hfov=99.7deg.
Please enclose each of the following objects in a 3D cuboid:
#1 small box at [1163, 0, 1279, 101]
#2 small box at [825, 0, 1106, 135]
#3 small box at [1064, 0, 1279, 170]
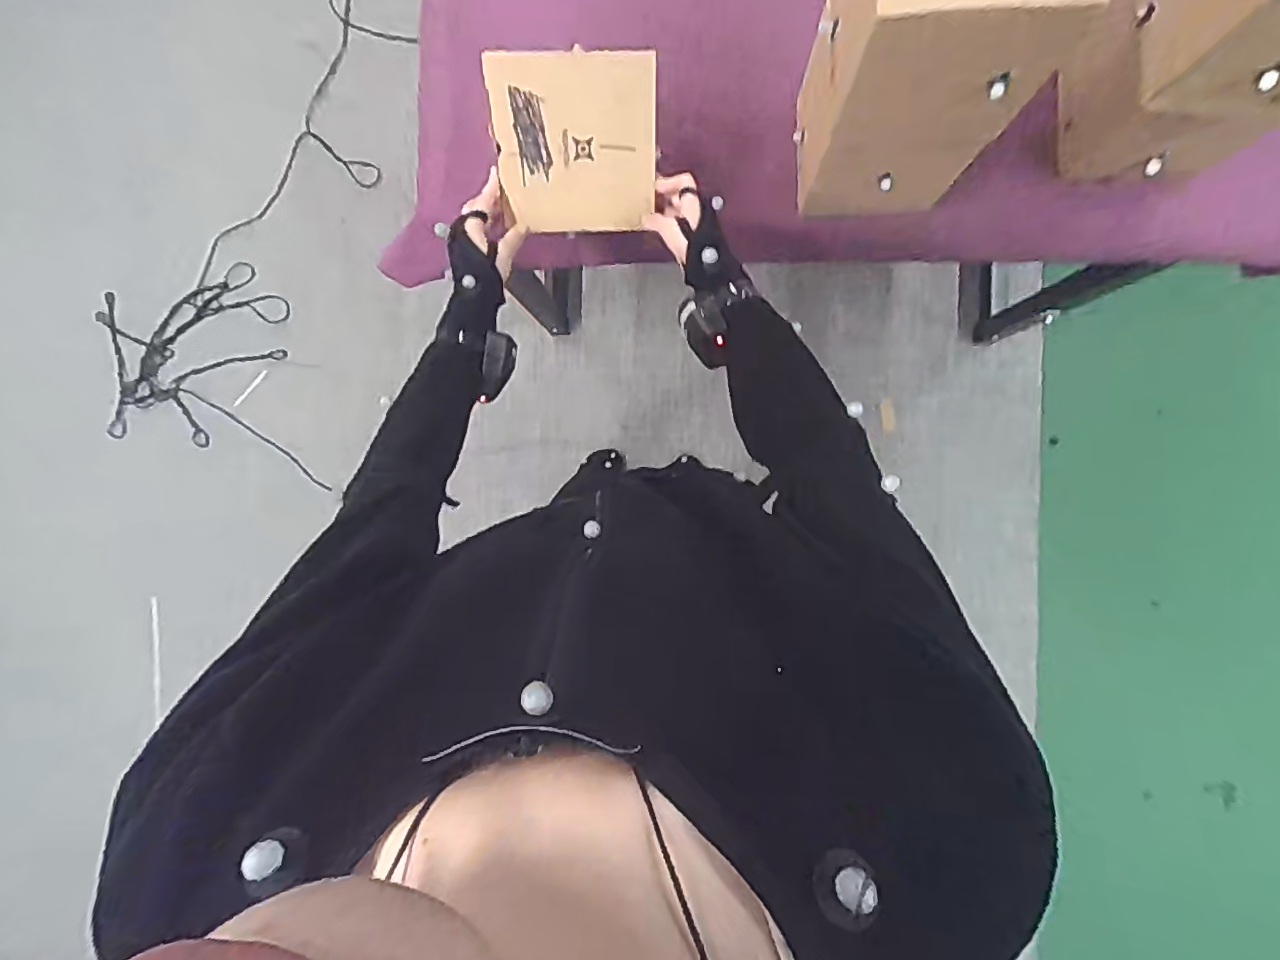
[{"bbox_3d":[0.604,-0.466,0.456,0.168,0.176,0.179,9,91,6],"label":"small box"},{"bbox_3d":[0.278,-0.445,0.487,0.179,0.176,0.168,1,88,6],"label":"small box"},{"bbox_3d":[0.635,-0.484,0.618,0.179,0.176,0.168,1,89,7],"label":"small box"}]
